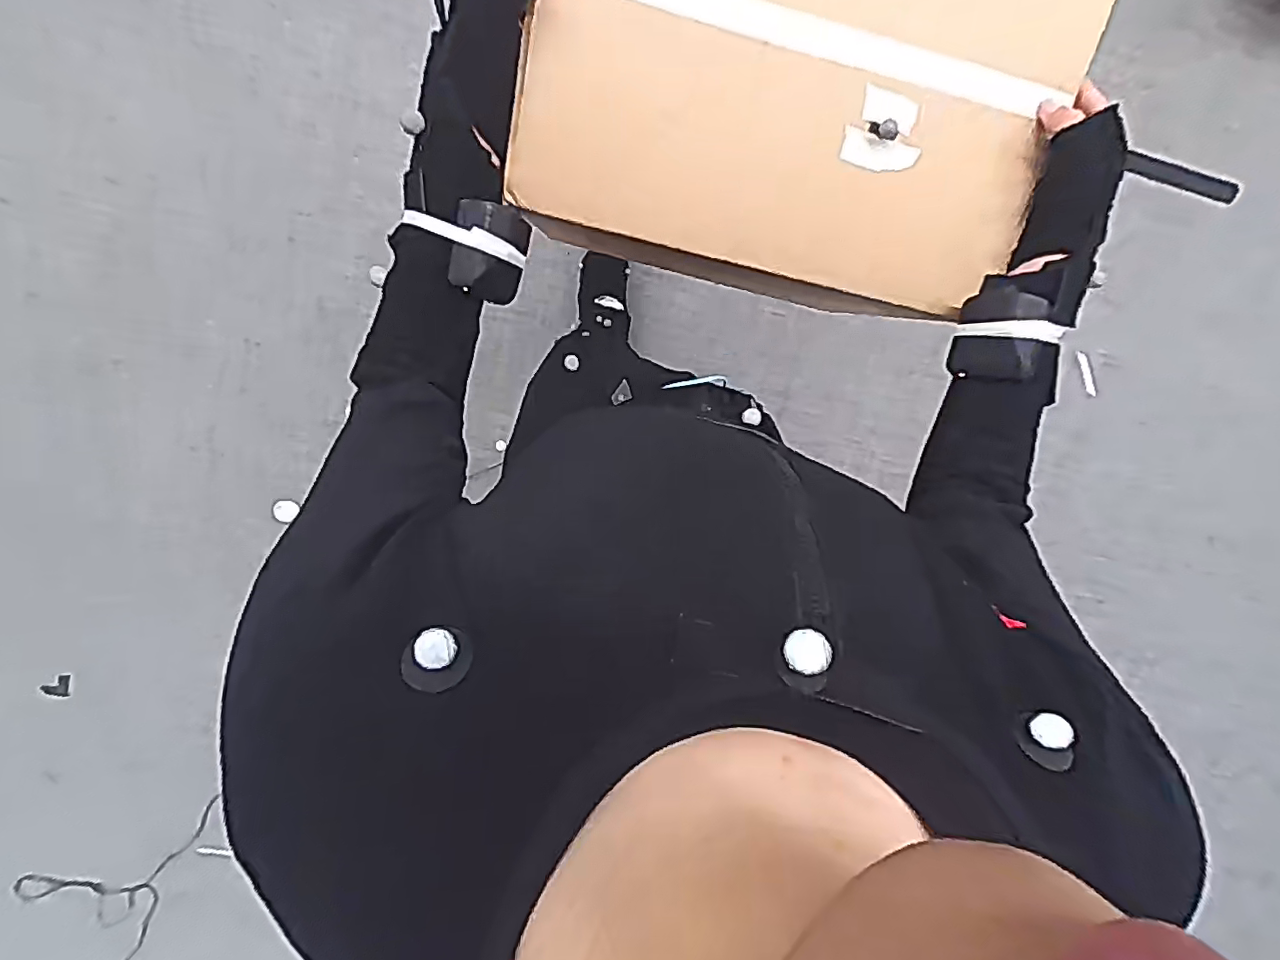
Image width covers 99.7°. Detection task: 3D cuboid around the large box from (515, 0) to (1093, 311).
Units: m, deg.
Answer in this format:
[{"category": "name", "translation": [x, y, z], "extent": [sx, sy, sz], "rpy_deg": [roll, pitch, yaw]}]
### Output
[{"category": "large box", "translation": [0.113, -0.370, 0.537], "extent": [0.408, 0.320, 0.320], "rpy_deg": [11, 109, -8]}]
